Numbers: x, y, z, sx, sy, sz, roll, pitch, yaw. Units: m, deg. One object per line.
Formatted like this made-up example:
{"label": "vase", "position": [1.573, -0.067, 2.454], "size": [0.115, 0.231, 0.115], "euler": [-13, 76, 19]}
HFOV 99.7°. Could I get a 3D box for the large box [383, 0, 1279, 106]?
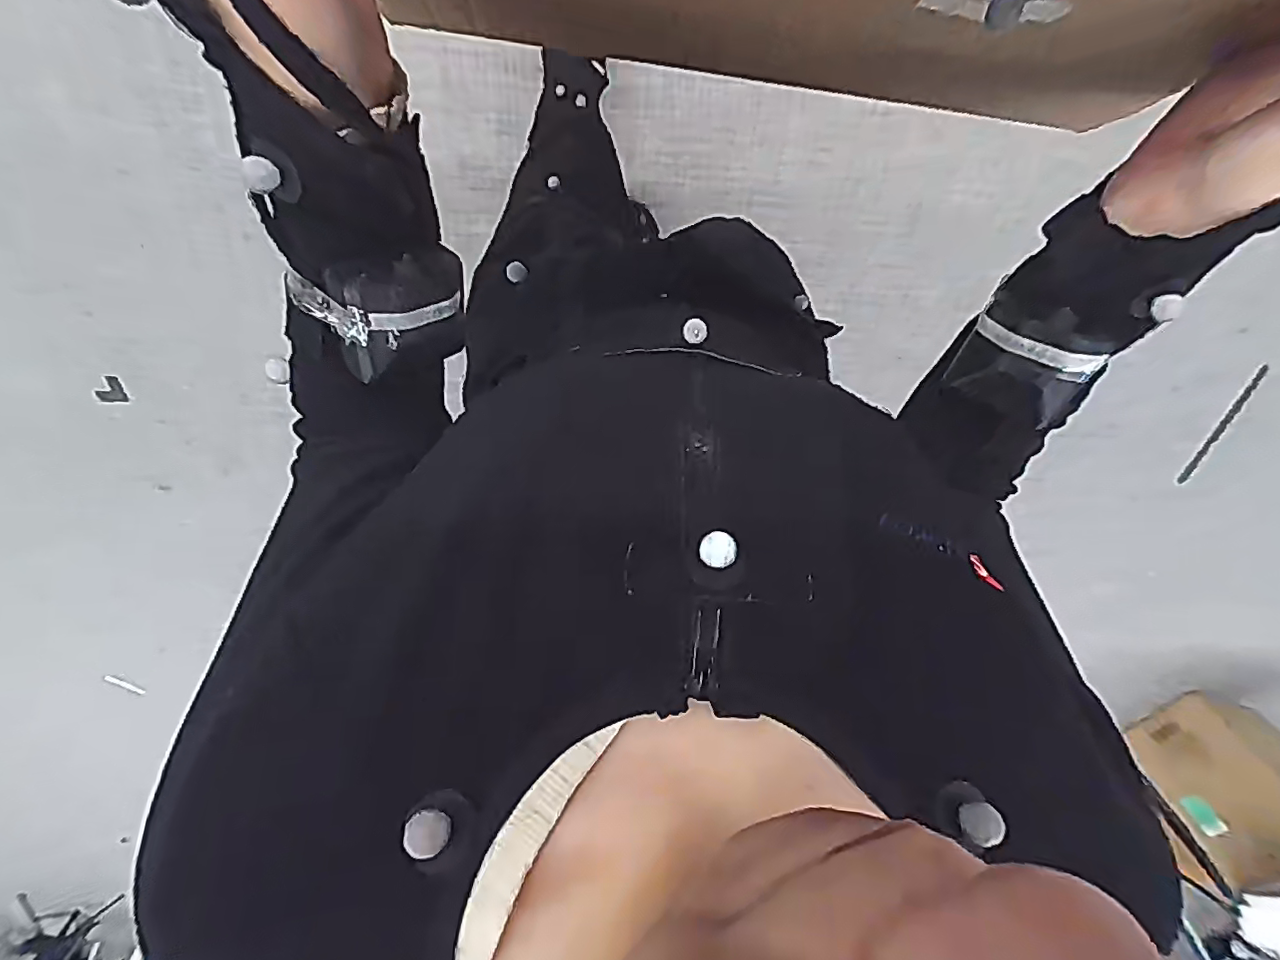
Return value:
{"label": "large box", "position": [0.087, -0.345, 0.124], "size": [0.408, 0.320, 0.320], "euler": [3, 104, -6]}
